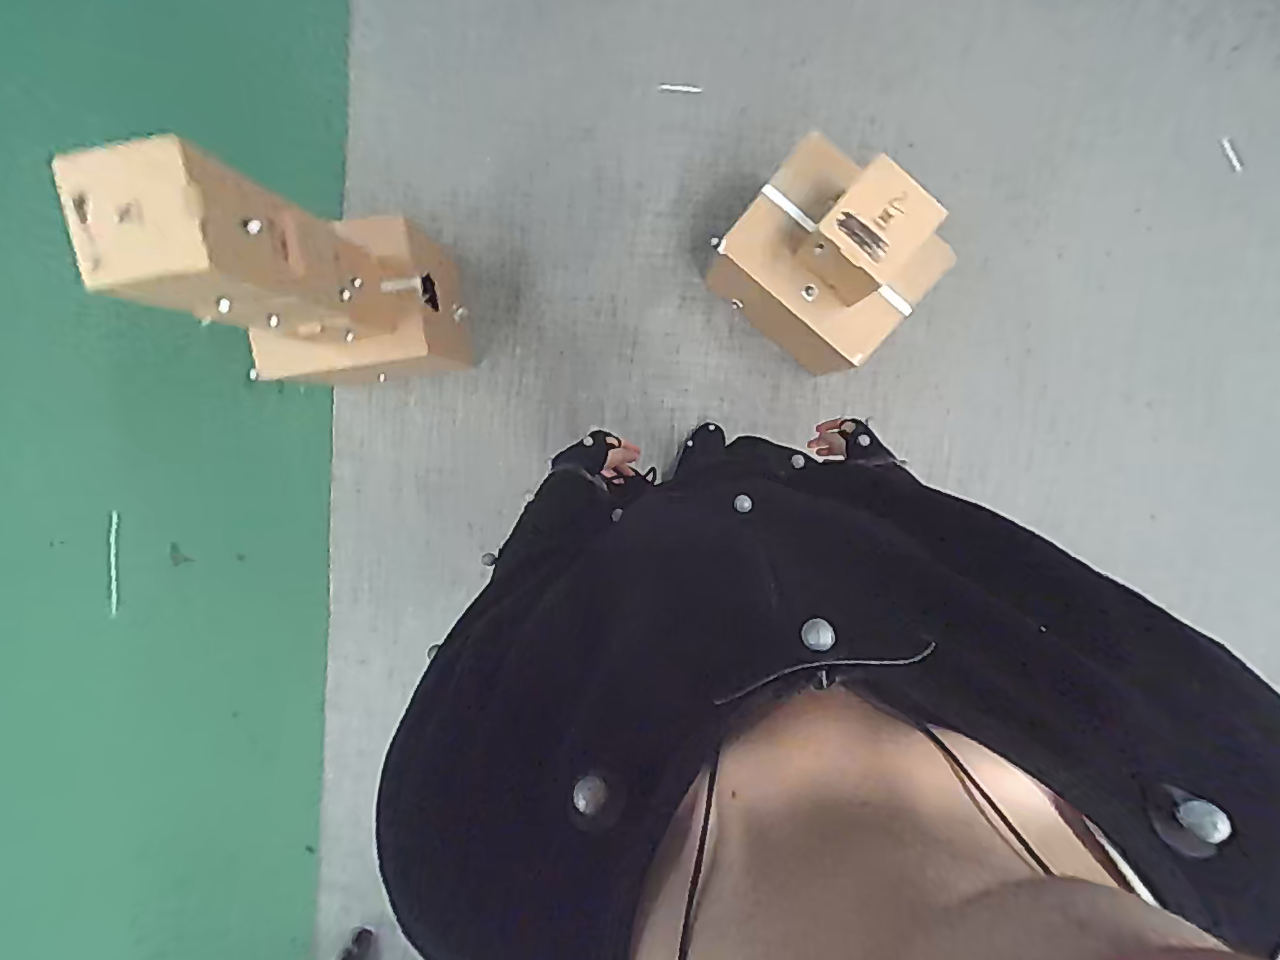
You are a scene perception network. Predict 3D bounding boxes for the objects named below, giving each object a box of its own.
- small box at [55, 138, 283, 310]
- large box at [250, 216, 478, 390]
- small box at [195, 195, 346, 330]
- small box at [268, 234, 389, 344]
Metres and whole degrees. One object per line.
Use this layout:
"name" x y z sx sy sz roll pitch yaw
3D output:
"small box" -0.649 -0.352 0.774 0.179 0.176 0.168 -7 95 2
"large box" -0.671 -0.411 1.345 0.408 0.320 0.320 -8 94 4
"small box" -0.640 -0.367 0.938 0.179 0.176 0.168 -8 96 3
"small box" -0.637 -0.380 1.101 0.168 0.176 0.179 -7 95 3
